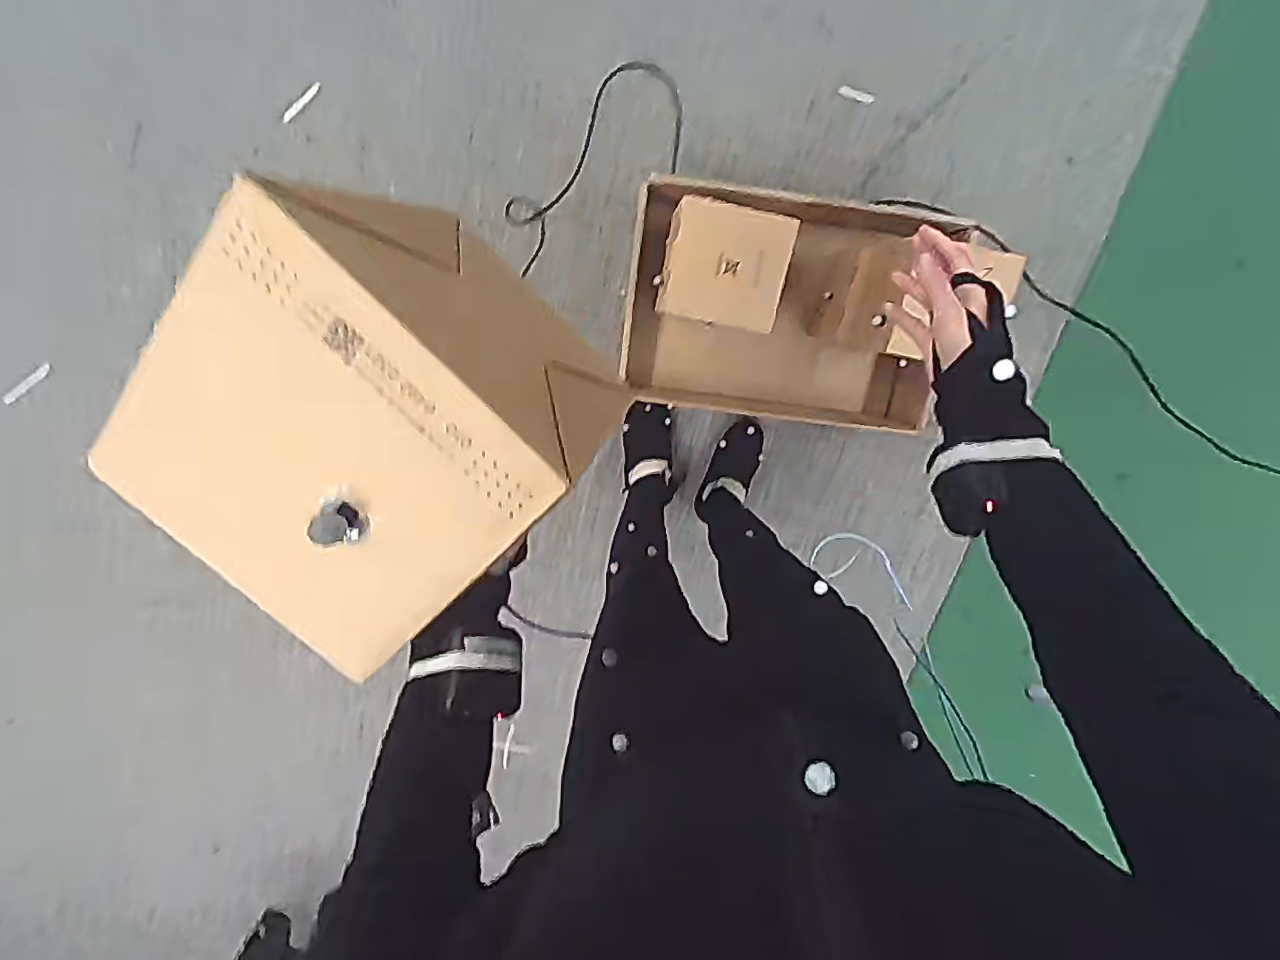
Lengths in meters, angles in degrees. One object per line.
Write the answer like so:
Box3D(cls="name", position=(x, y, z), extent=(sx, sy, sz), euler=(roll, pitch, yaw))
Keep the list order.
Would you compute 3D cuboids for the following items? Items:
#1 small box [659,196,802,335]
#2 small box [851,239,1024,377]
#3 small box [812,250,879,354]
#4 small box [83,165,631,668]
Box3D(cls="small box", position=(0.133, -0.340, 0.880), extent=(0.179, 0.176, 0.168), euler=(11, 108, -6))
Box3D(cls="small box", position=(0.478, -0.282, 0.902), extent=(0.168, 0.176, 0.179), euler=(11, 106, -5))
Box3D(cls="small box", position=(0.459, -0.335, 1.058), extent=(0.179, 0.176, 0.168), euler=(12, 106, -5))
Box3D(cls="small box", position=(-0.127, -0.042, 0.302), extent=(0.168, 0.179, 0.176), euler=(44, 112, -9))
